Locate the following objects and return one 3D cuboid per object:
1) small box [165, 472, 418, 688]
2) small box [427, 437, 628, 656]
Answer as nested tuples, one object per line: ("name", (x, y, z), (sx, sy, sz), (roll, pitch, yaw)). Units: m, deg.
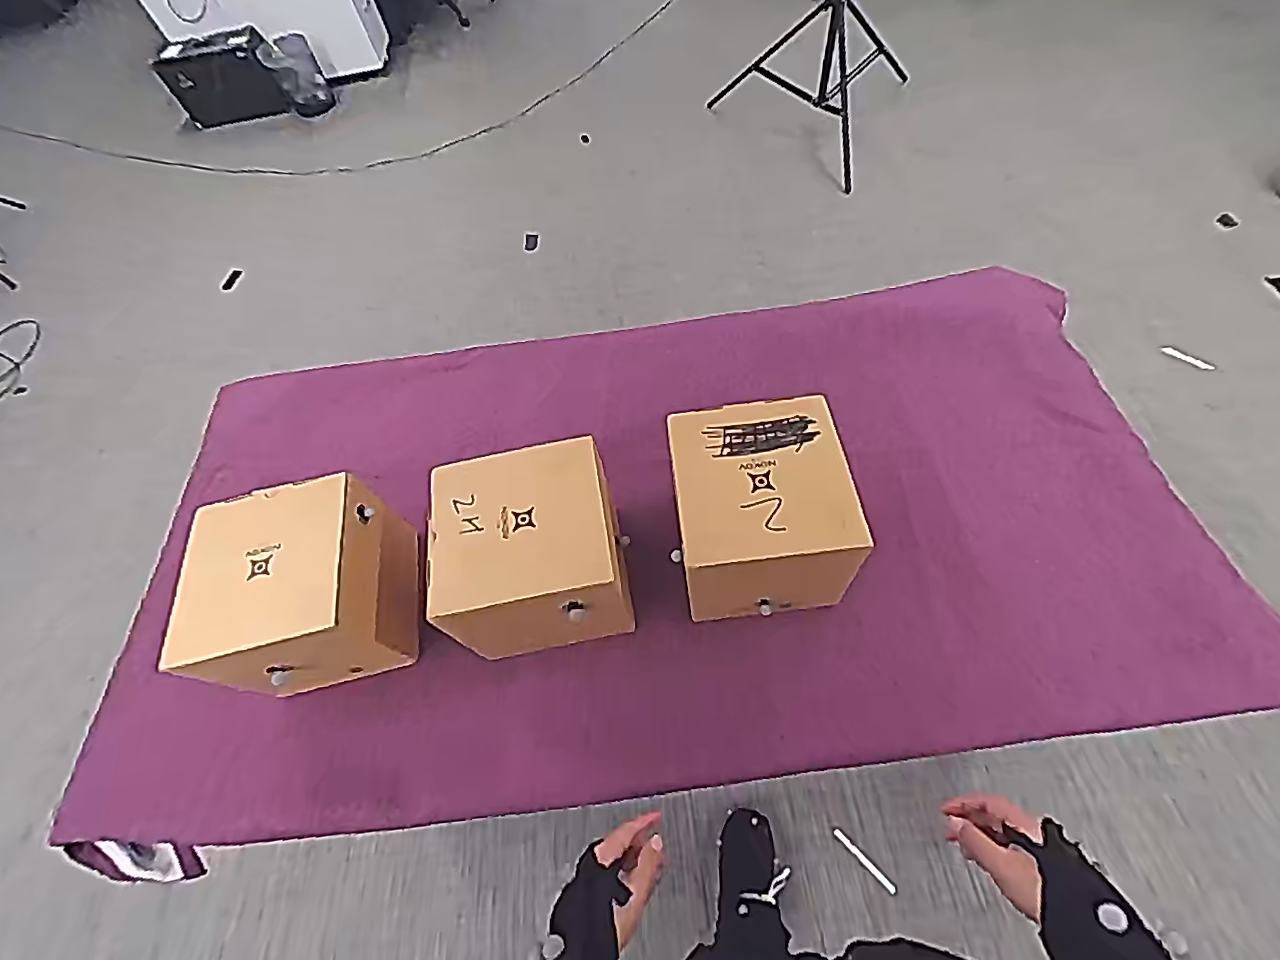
("small box", (-0.365, 0.122, 0.606), (0.168, 0.176, 0.179), (-14, 58, -1))
("small box", (-0.112, 0.080, 0.595), (0.179, 0.176, 0.168), (-12, 58, 0))
